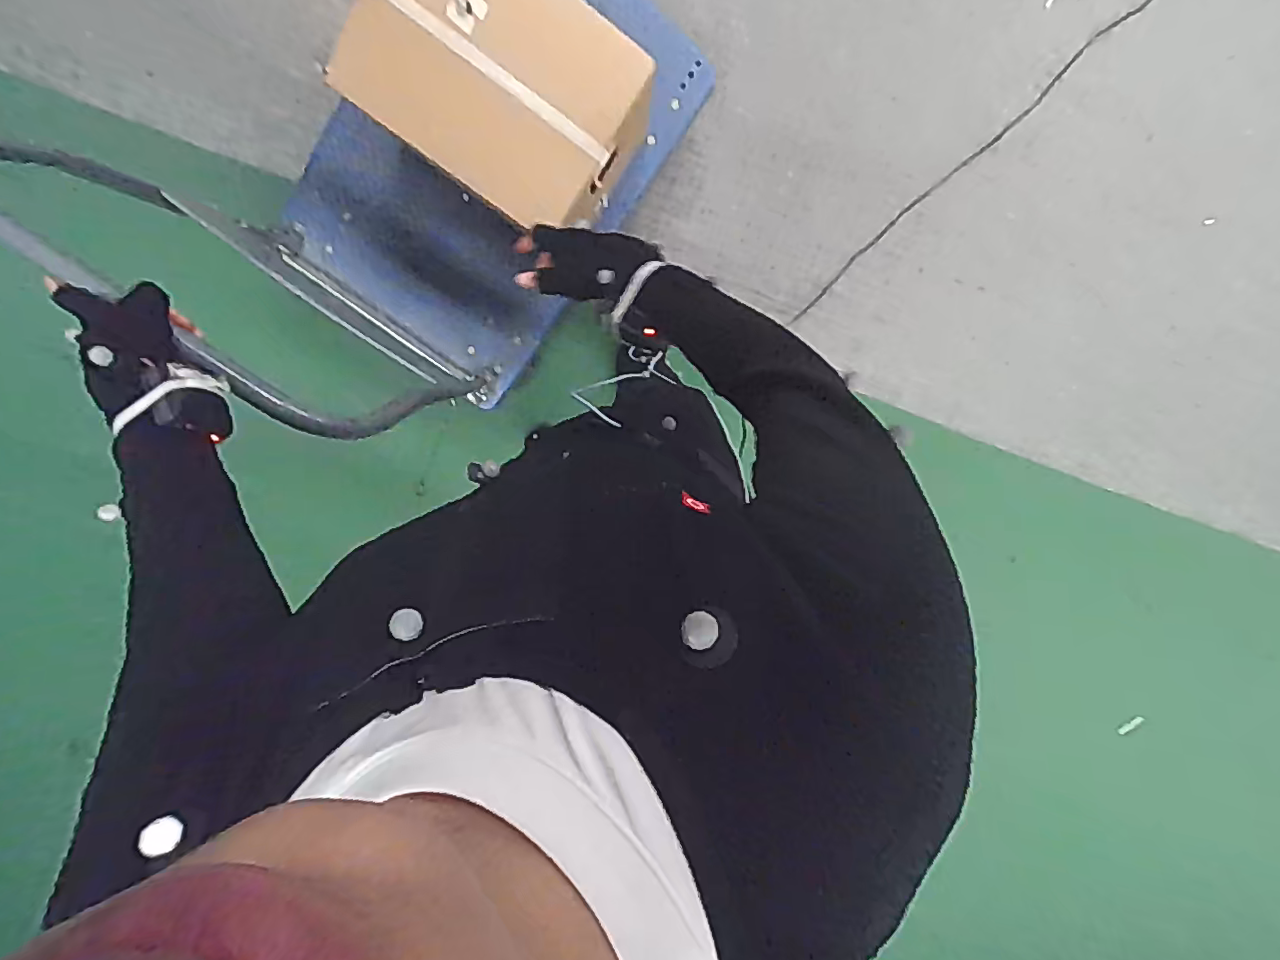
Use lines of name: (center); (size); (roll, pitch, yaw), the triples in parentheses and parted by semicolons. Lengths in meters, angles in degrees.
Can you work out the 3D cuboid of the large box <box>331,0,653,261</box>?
large box: (-0.224, -0.652, 0.964); (0.408, 0.320, 0.320); (34, 102, -9)
